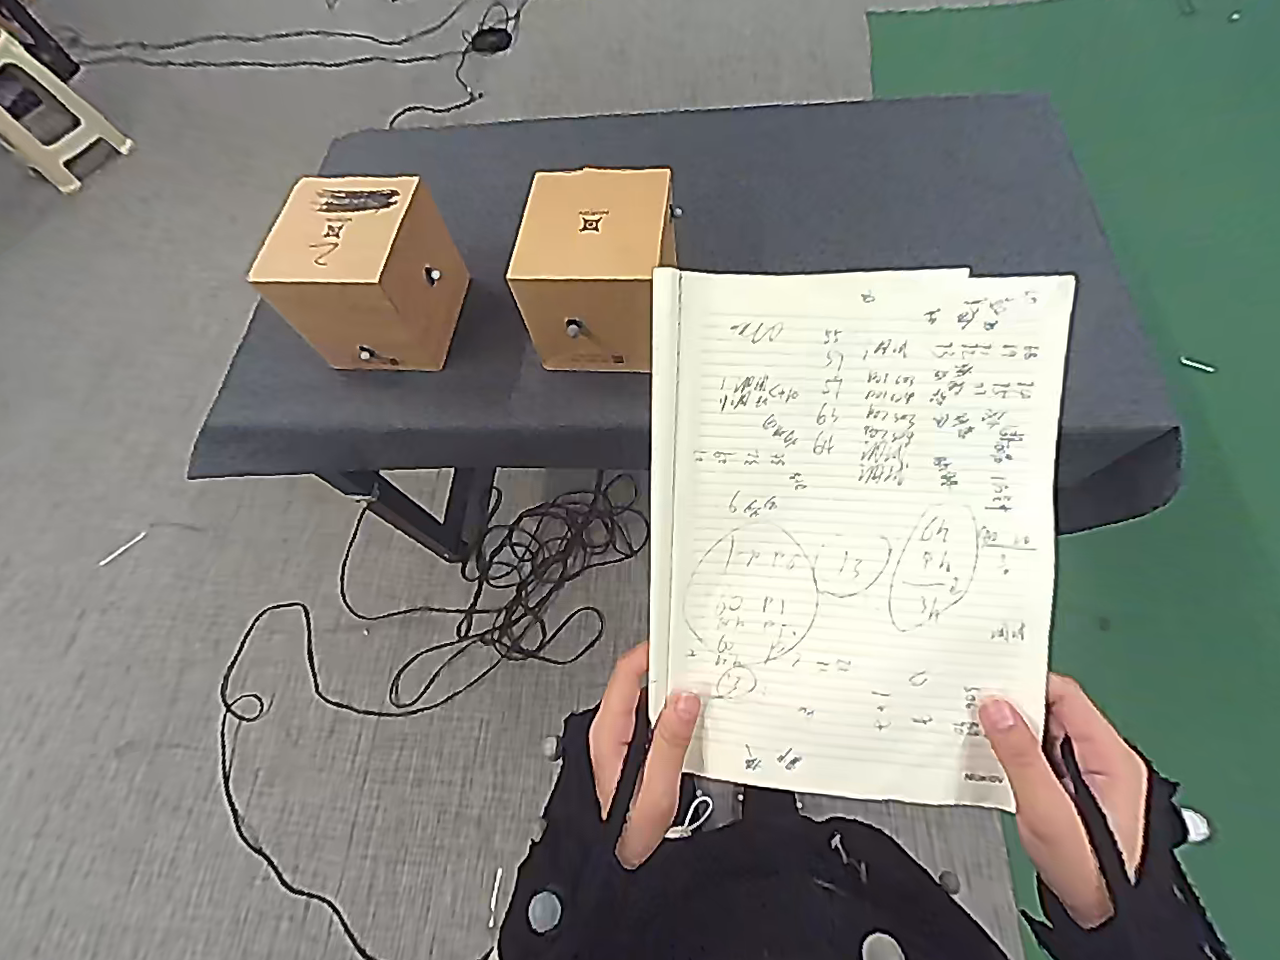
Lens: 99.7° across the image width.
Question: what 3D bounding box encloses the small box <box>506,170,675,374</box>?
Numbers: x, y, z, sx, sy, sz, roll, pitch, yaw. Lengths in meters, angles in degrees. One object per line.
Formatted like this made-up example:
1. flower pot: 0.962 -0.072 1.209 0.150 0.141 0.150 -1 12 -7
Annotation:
1. small box: -0.046 -0.247 0.669 0.168 0.176 0.179 3 64 8
